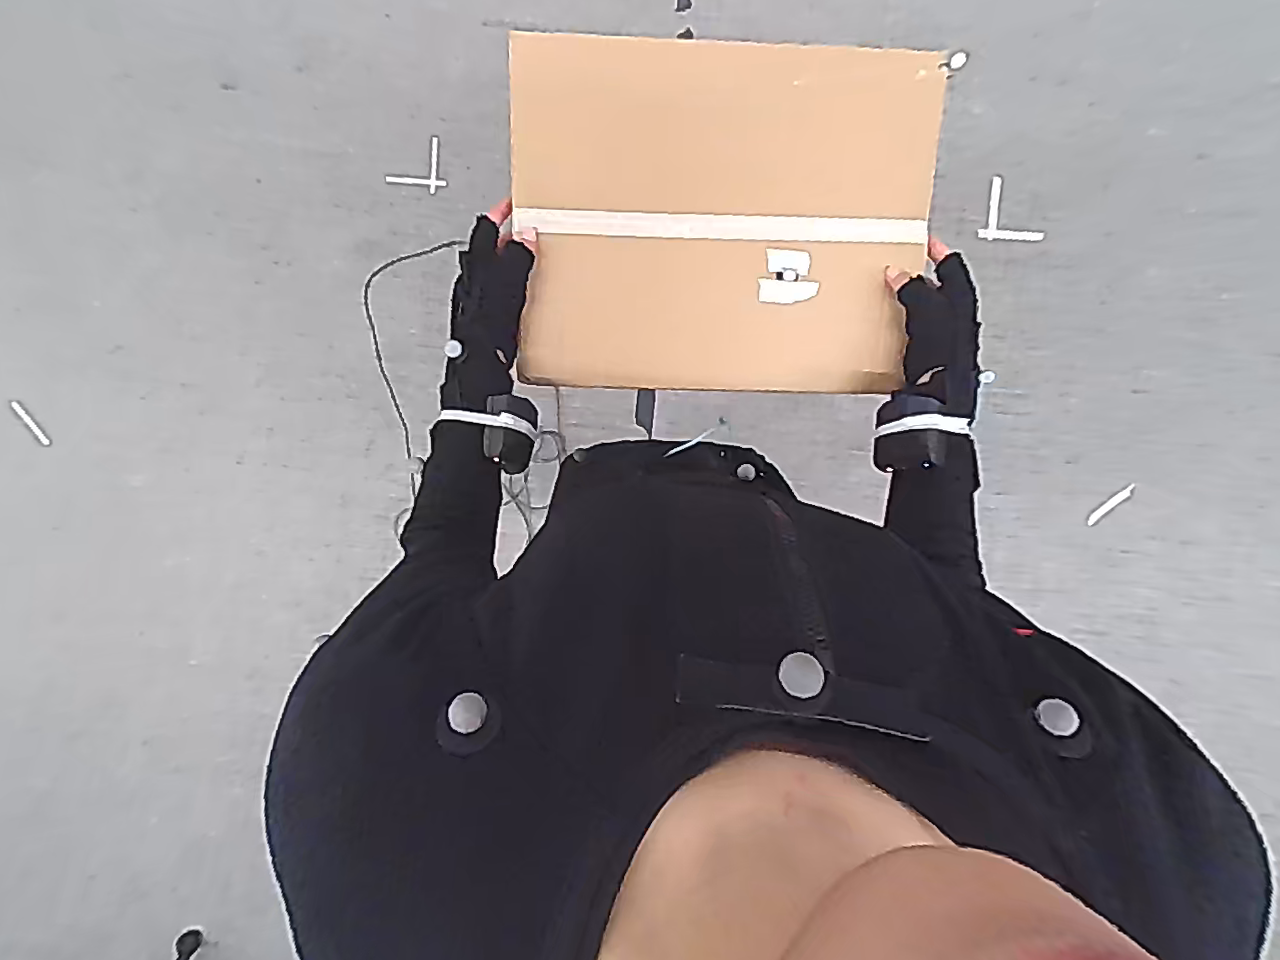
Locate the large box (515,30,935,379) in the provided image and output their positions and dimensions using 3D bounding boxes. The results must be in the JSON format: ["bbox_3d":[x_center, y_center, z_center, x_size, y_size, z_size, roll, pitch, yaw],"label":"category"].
[{"bbox_3d":[0.072,-0.291,0.679,0.408,0.320,0.320,1,103,-3],"label":"large box"}]
